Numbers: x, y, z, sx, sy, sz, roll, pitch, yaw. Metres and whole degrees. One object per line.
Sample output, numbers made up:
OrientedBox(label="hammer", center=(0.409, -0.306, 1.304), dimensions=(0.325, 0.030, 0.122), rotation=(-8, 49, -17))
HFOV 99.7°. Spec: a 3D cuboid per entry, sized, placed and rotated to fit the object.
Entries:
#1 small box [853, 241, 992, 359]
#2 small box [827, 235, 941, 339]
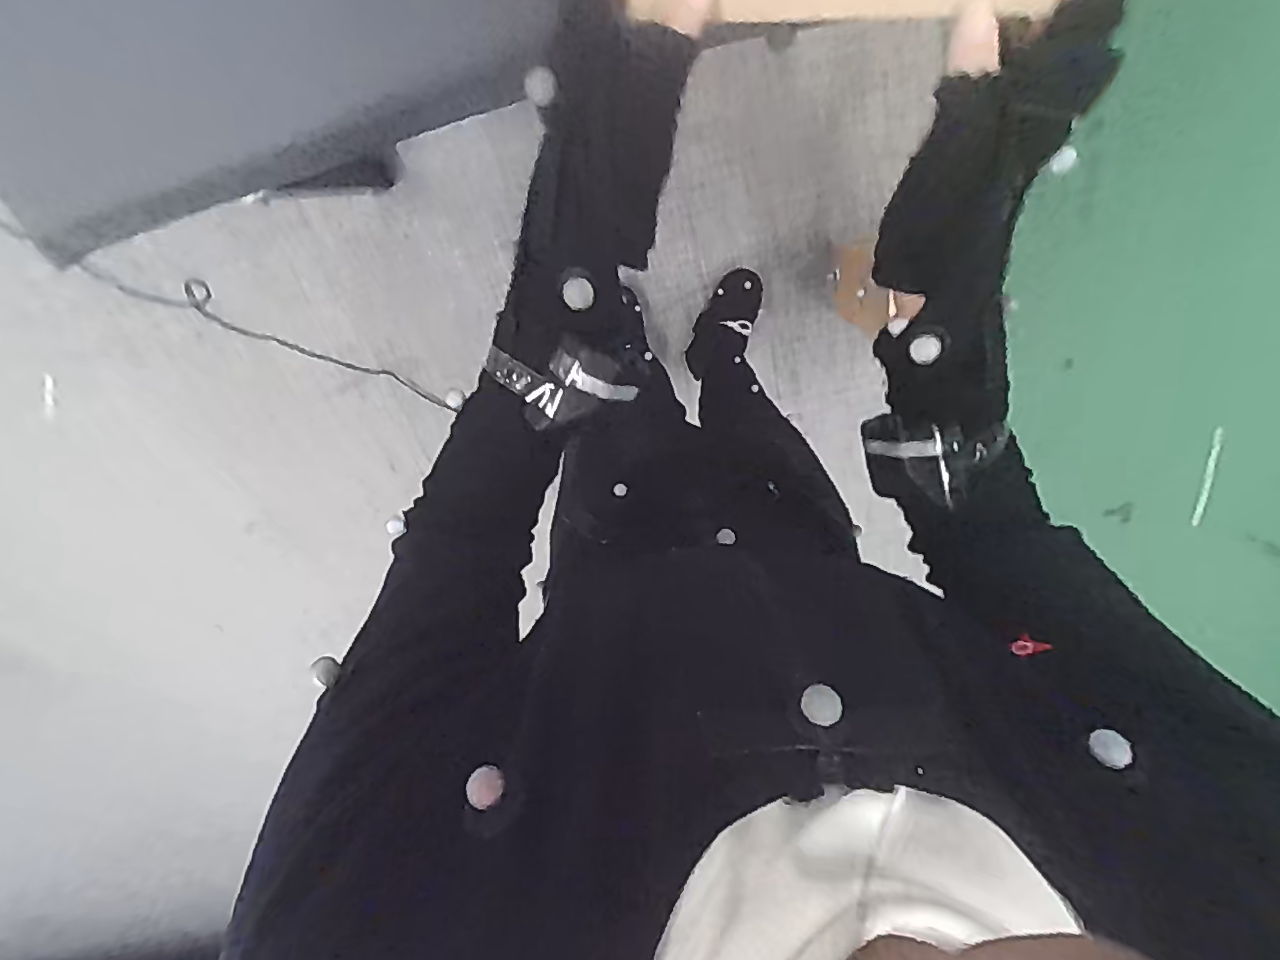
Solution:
OrientedBox(label="small box", center=(0.514, -0.339, 1.008), dimensions=(0.179, 0.176, 0.168), rotation=(-8, 117, 7))
OrientedBox(label="small box", center=(0.513, -0.417, 1.154), dimensions=(0.179, 0.176, 0.168), rotation=(-10, 117, 8))
